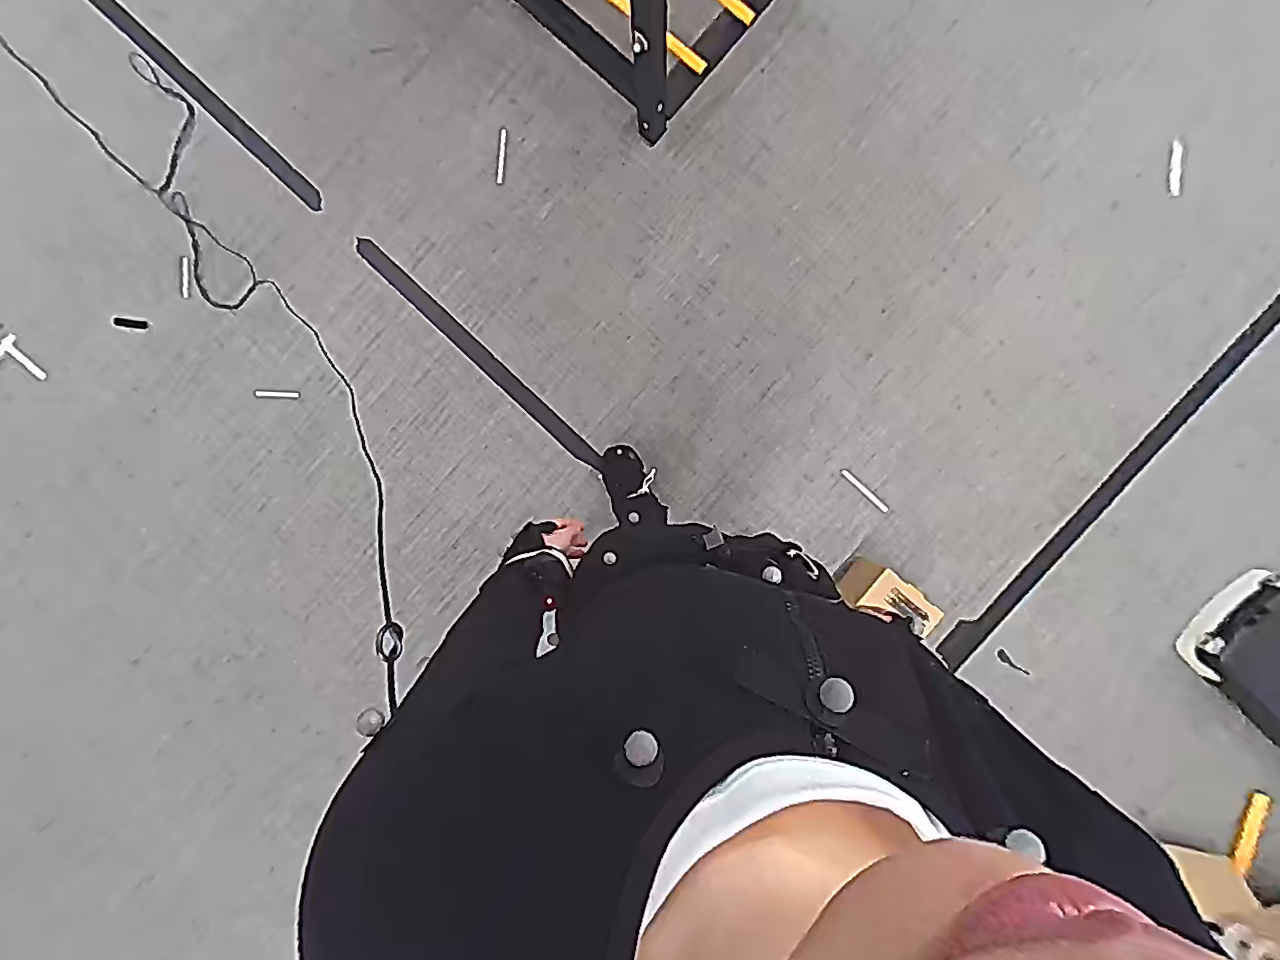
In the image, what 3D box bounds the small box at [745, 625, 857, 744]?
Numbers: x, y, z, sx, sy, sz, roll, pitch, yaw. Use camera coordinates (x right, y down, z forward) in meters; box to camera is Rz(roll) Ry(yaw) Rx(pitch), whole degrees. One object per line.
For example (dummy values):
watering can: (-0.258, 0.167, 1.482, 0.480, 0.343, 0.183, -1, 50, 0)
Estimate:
small box: (0.375, 0.478, 1.293, 0.179, 0.176, 0.168, 45, 93, 2)
